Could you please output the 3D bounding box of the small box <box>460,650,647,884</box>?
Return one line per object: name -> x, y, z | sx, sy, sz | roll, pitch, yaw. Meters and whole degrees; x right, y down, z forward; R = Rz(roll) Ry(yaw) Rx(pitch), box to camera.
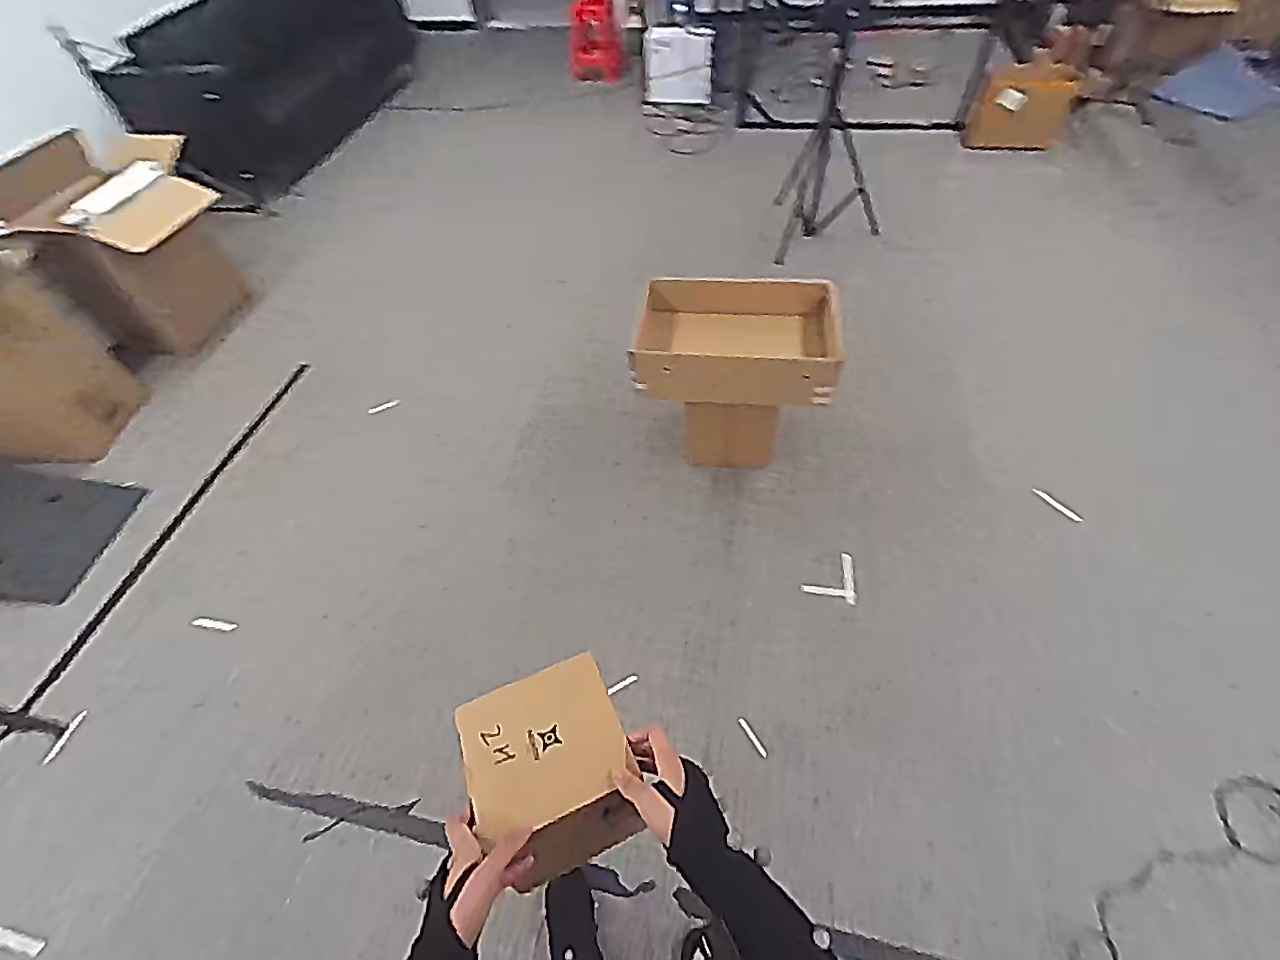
small box -> -0.098, 0.345, 0.656 | 0.179, 0.176, 0.168 | -19, 43, -13
